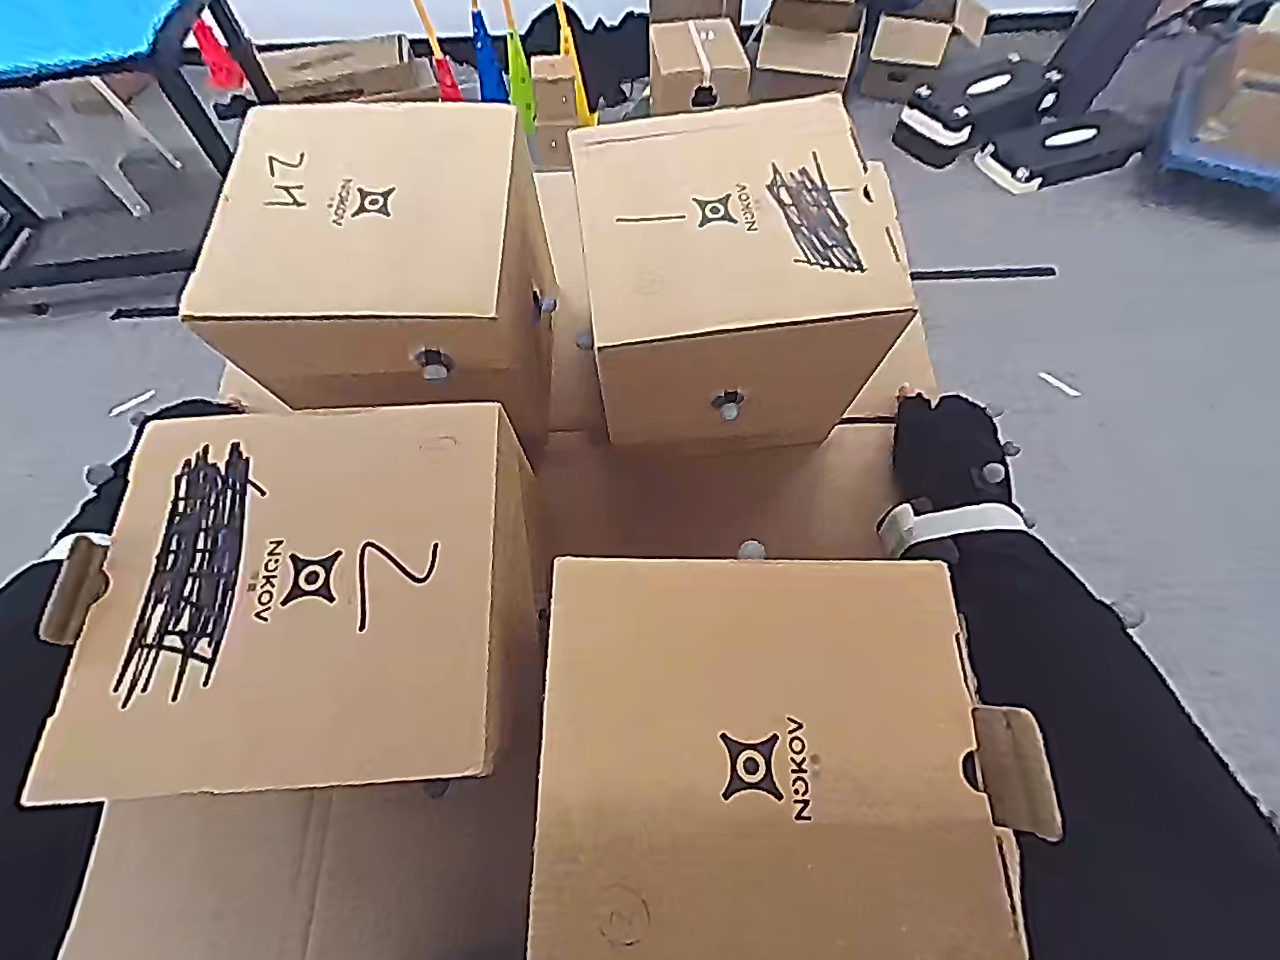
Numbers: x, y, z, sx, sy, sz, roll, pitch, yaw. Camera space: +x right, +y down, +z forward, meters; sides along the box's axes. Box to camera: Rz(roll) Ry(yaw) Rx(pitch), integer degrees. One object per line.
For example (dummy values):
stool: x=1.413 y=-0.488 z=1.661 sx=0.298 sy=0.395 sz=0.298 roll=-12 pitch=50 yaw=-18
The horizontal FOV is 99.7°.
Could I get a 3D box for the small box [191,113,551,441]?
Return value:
small box: x=-0.168 y=-0.137 z=0.408 sx=0.179 sy=0.176 sz=0.168 roll=0 pitch=69 yaw=1
